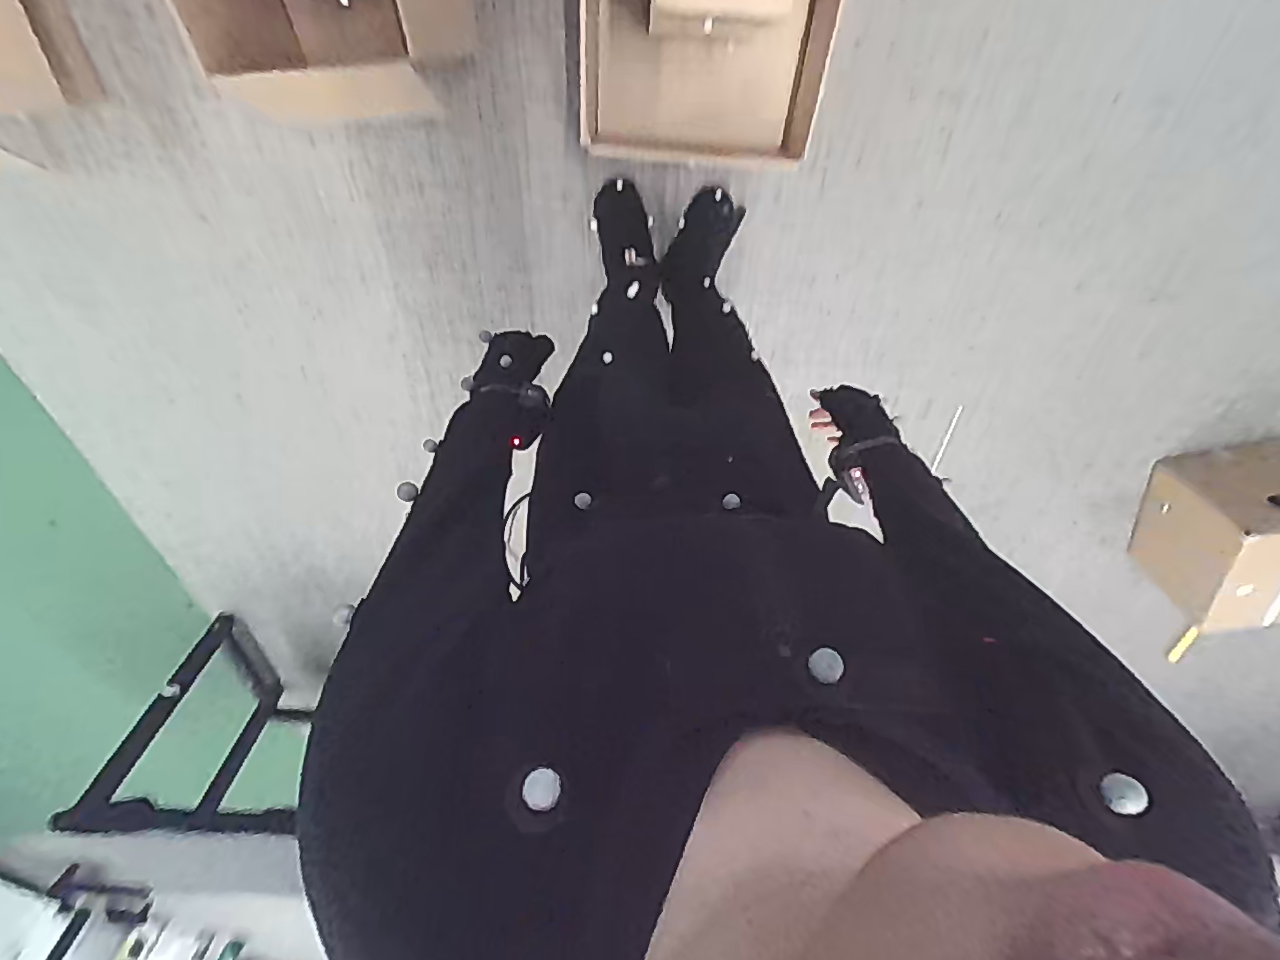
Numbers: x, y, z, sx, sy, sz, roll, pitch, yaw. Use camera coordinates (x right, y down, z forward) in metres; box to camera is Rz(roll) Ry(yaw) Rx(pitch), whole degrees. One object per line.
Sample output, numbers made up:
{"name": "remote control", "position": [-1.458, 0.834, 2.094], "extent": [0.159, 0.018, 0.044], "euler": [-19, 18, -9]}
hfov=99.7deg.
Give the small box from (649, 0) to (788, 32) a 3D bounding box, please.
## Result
{"name": "small box", "position": [0.103, -0.701, 0.705], "extent": [0.179, 0.176, 0.168], "euler": [2, 126, -3]}
